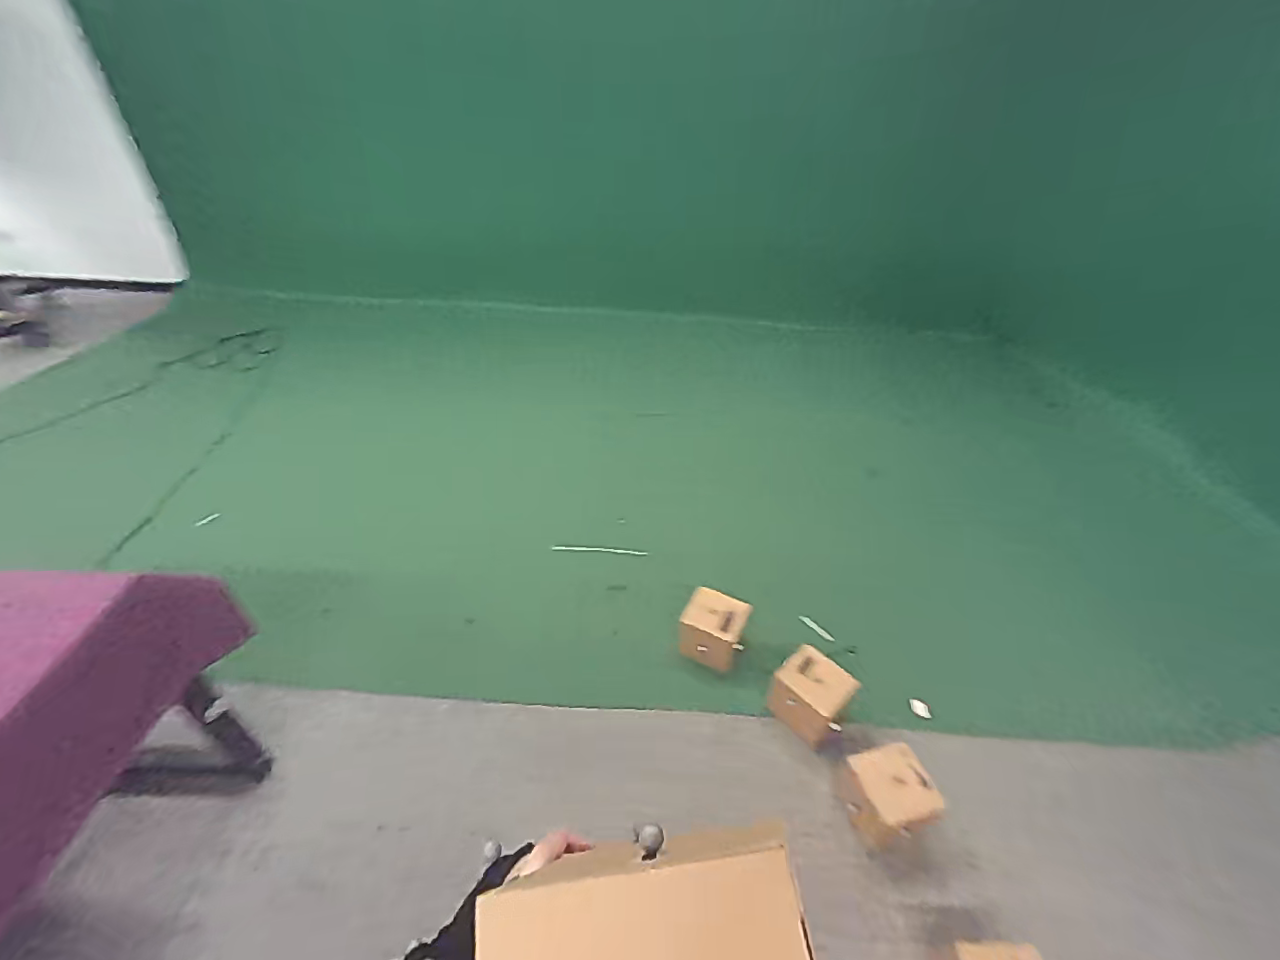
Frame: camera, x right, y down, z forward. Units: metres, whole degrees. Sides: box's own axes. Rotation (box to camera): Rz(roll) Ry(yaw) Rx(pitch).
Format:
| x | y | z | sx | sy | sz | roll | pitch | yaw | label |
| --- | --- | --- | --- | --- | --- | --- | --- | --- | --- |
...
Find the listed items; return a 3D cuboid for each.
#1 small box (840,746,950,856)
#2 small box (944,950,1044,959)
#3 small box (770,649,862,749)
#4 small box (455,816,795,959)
| x | y | z | sx | sy | sz | roll | pitch | yaw | label |
| --- | --- | --- | --- | --- | --- | --- | --- | --- | --- |
| 0.625 | 0.807 | 1.357 | 0.179 | 0.176 | 0.168 | -8 | 39 | -13 | small box |
| 0.704 | 1.047 | 1.049 | 0.168 | 0.176 | 0.179 | 3 | 38 | -1 | small box |
| 0.504 | 0.637 | 1.571 | 0.168 | 0.176 | 0.179 | -27 | 47 | -33 | small box |
| 0.008 | 0.315 | 0.326 | 0.179 | 0.176 | 0.168 | -14 | 60 | 4 | small box |
